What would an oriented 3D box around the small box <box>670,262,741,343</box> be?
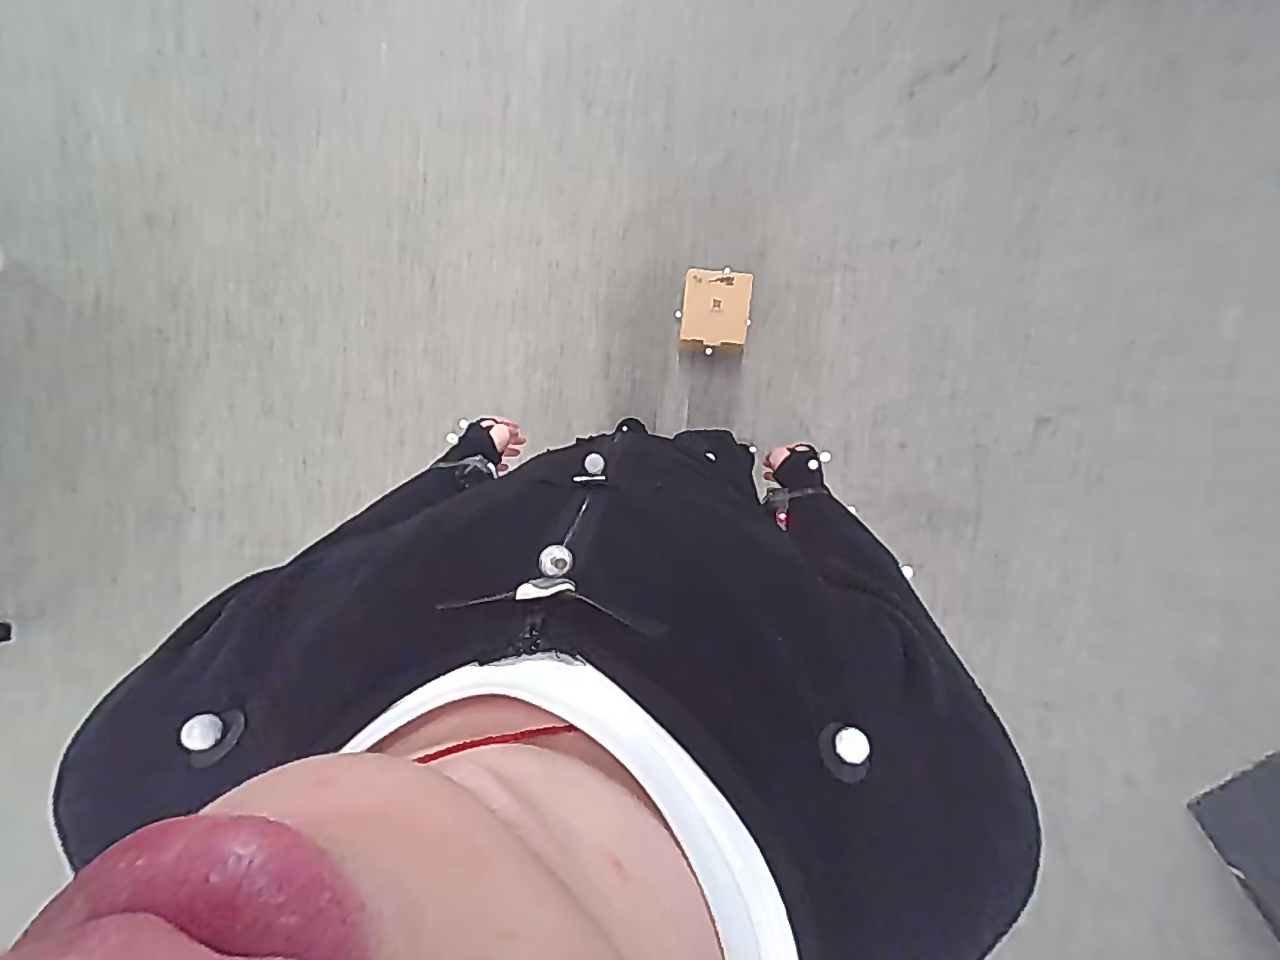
[{"bbox_3d":[0.169,-0.466,1.442,0.168,0.176,0.179,3,96,1],"label":"small box"}]
